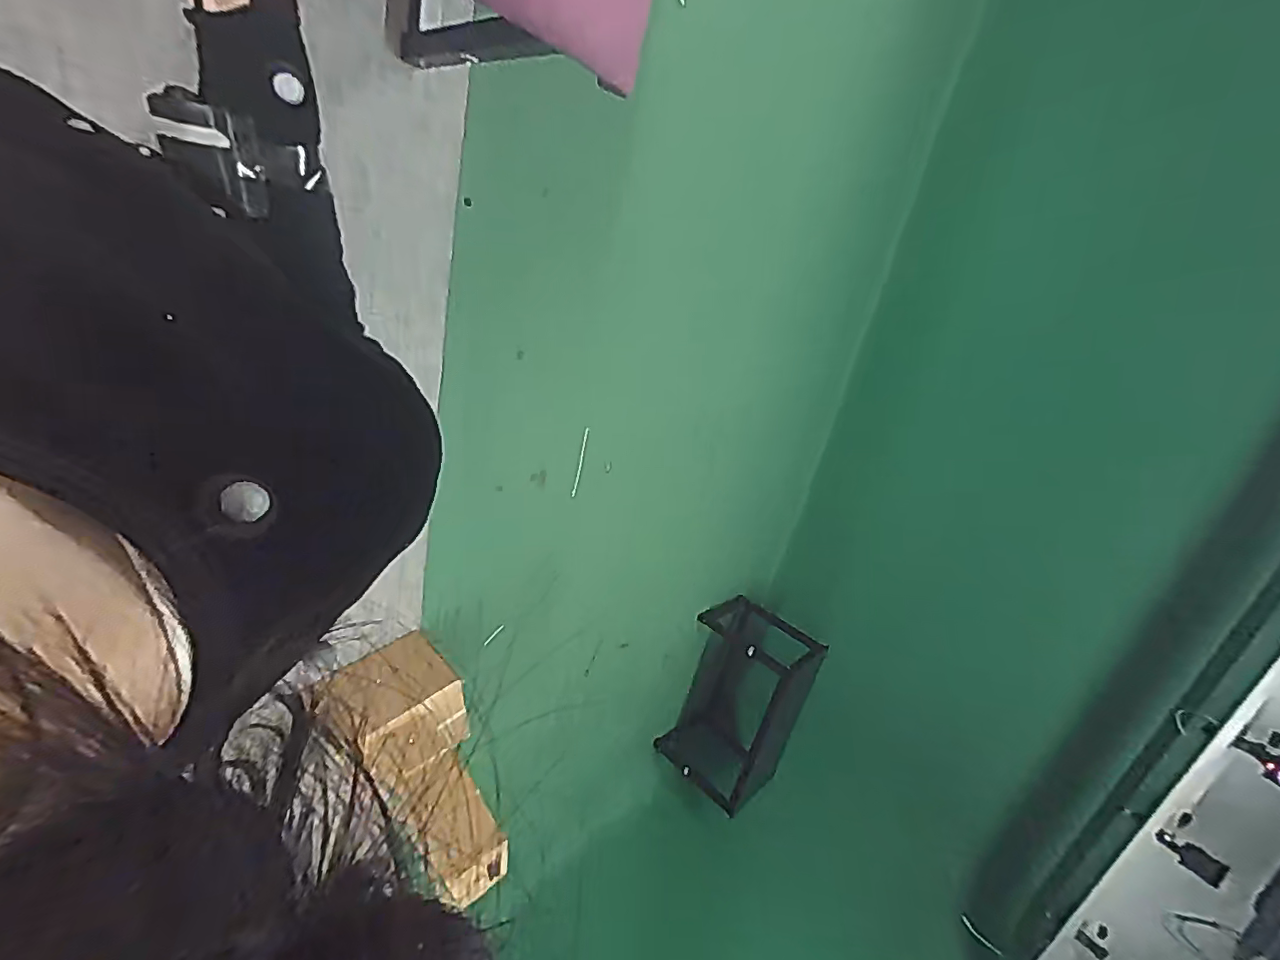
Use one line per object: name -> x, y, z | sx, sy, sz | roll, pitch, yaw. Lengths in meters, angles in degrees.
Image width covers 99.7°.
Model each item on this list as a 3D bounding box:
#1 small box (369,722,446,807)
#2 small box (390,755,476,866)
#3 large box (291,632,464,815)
small box -> -0.710, 0.875, 1.655 | 0.168, 0.176, 0.179 | -20, 127, -43
small box -> -0.597, 0.944, 1.562 | 0.179, 0.176, 0.168 | -19, 126, -43
large box -> -0.872, 0.798, 1.828 | 0.408, 0.320, 0.320 | -27, 134, -41
